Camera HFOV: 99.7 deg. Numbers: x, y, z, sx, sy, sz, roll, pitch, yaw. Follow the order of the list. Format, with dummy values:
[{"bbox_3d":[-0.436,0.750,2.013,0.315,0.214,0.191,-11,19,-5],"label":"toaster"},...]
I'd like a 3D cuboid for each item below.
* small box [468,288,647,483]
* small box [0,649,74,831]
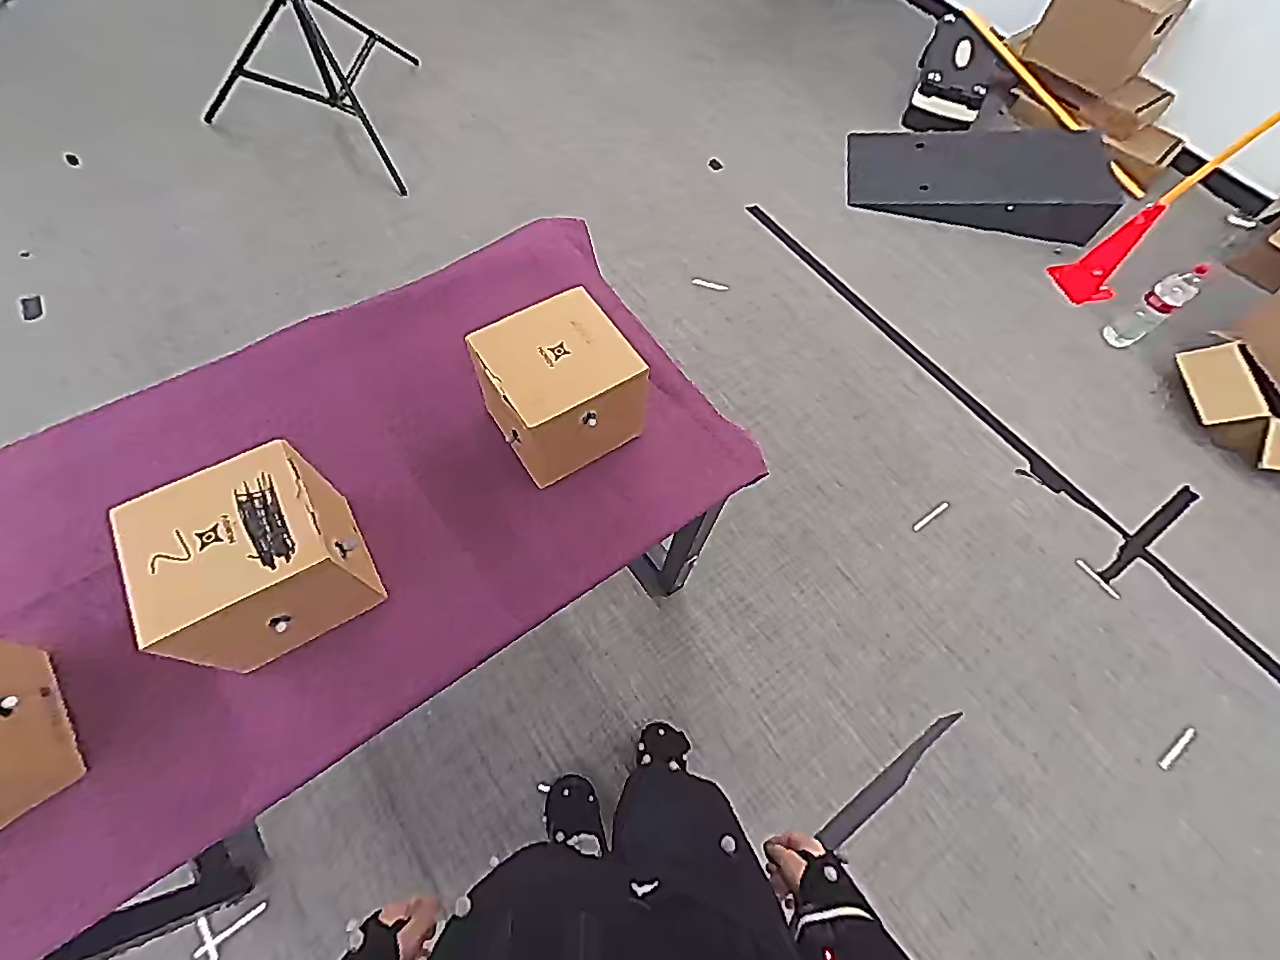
[{"bbox_3d":[-0.109,-0.124,0.753,0.179,0.176,0.168,-30,70,-18],"label":"small box"},{"bbox_3d":[-0.704,0.268,0.512,0.179,0.176,0.168,-34,69,-19],"label":"small box"}]
